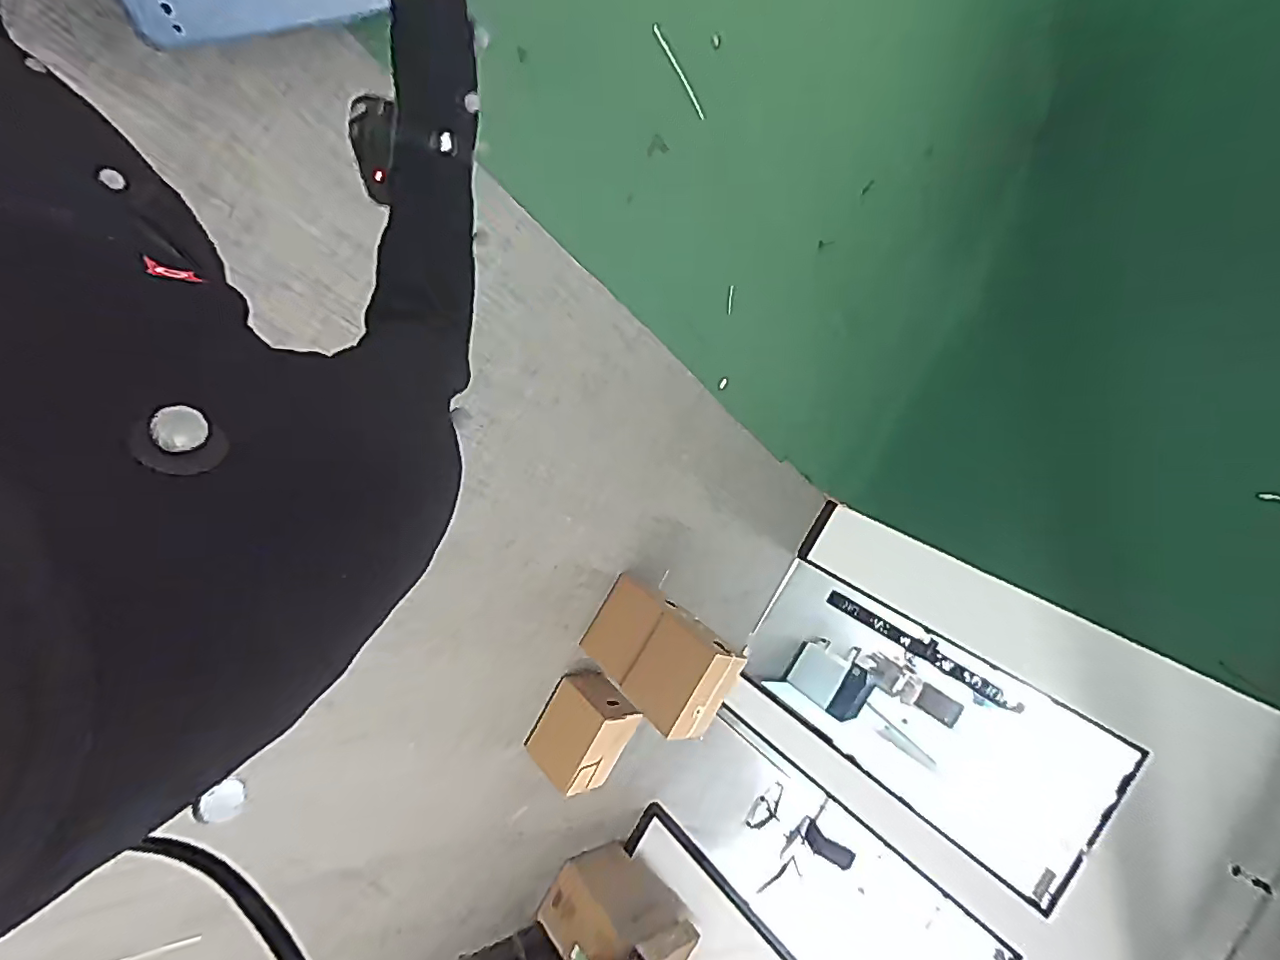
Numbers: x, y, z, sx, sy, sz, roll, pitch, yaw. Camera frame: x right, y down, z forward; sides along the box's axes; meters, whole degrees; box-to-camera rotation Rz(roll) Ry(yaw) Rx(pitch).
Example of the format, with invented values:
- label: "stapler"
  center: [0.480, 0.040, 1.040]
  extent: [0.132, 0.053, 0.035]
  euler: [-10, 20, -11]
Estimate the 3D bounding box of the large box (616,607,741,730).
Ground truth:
- label: "large box"
  center: [0.170, 0.818, 2.372]
  extent: [0.320, 0.320, 0.408]
  euler: [30, 92, -51]
